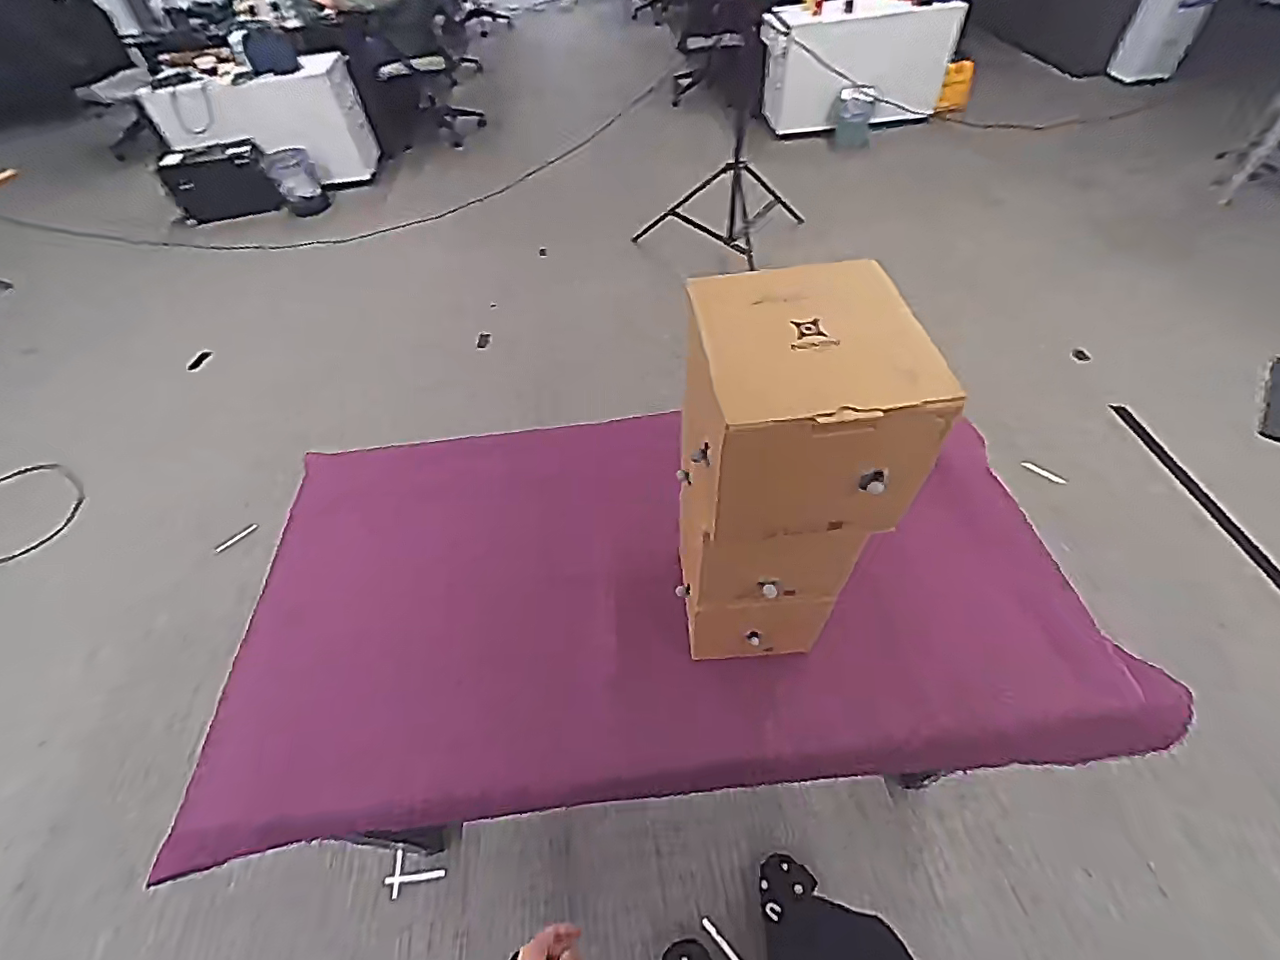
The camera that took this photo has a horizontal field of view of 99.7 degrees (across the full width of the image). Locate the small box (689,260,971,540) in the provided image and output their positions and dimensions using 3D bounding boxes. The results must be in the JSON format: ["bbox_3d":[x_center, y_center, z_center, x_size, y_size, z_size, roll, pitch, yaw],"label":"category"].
[{"bbox_3d":[0.136,-0.060,0.468,0.168,0.176,0.179,-6,51,-2],"label":"small box"}]

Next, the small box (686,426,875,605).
[{"bbox_3d":[0.141,0.022,0.609,0.168,0.176,0.179,-4,53,1],"label":"small box"}]

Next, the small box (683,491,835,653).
[{"bbox_3d":[0.148,0.126,0.736,0.168,0.176,0.179,-4,52,1],"label":"small box"}]
